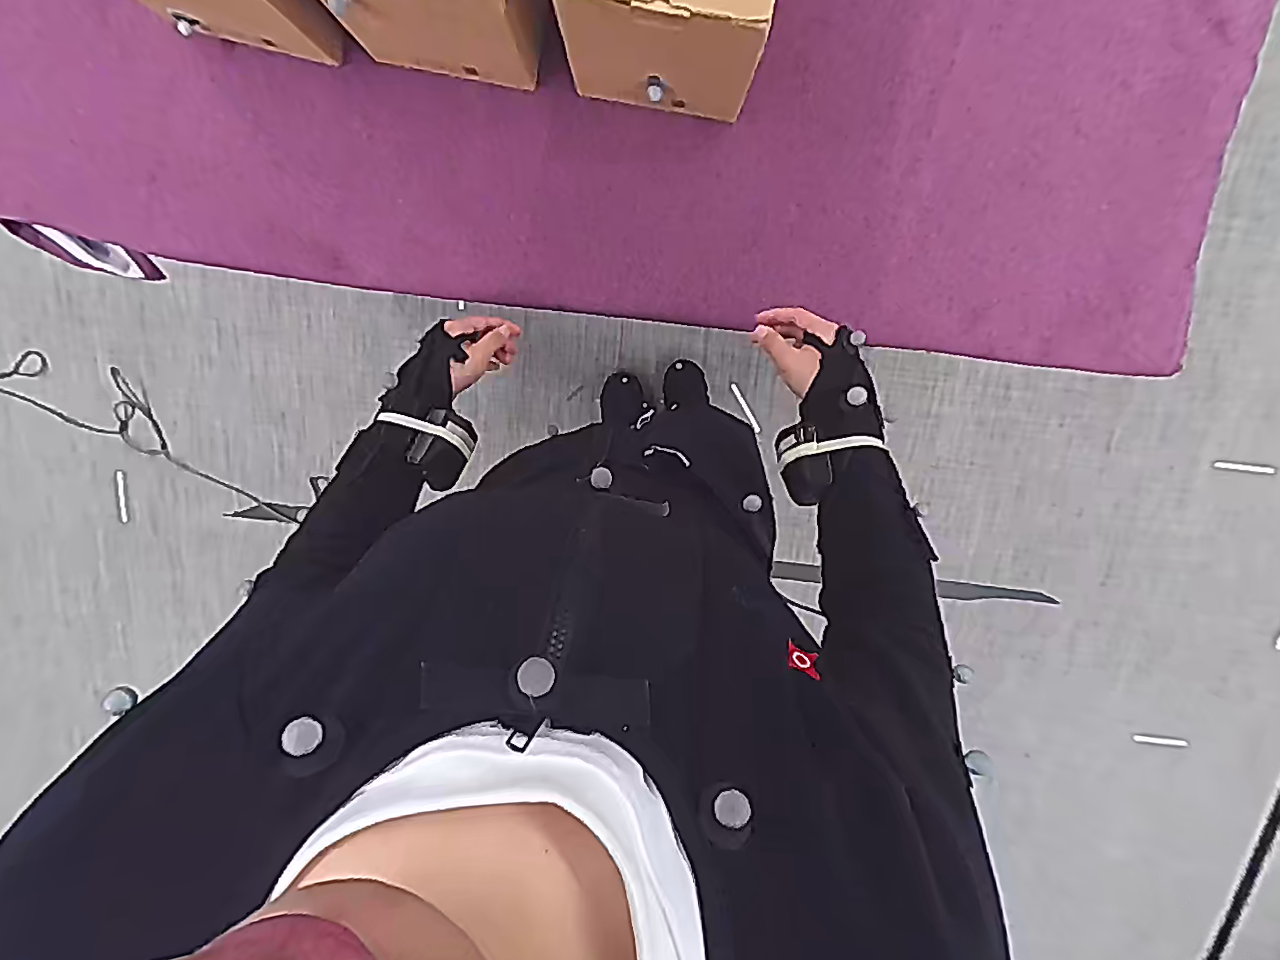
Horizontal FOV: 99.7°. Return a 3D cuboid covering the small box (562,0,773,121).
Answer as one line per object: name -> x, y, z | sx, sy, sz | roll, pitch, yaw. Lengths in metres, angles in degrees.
small box -> 0.029, -0.444, 0.454 | 0.168, 0.176, 0.179 | 9, 103, -1
